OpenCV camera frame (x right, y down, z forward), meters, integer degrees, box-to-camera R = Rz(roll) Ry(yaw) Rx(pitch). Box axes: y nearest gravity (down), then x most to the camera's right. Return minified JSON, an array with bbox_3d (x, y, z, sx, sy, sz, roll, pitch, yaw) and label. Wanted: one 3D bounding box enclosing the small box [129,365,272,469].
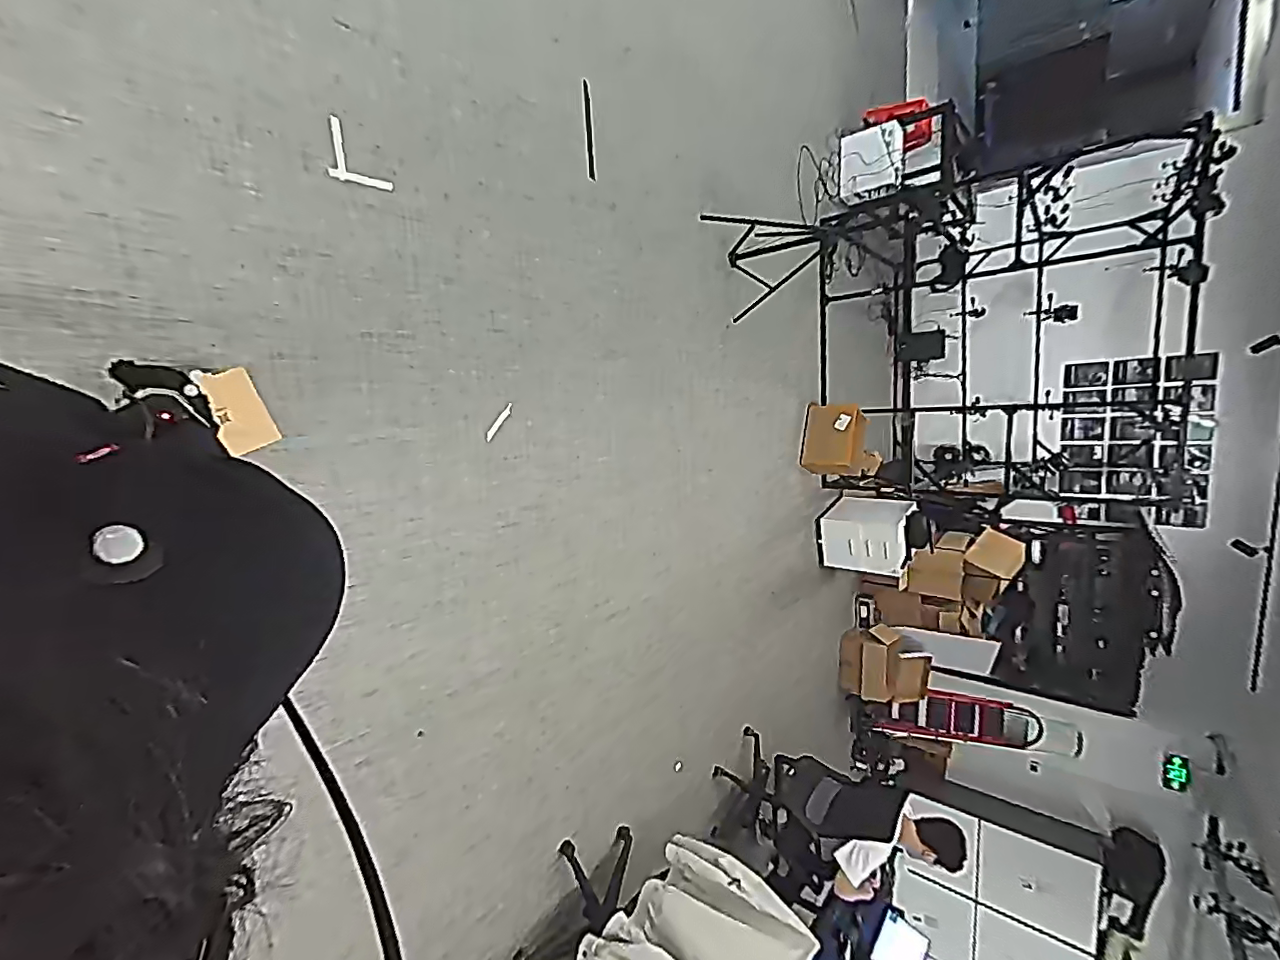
[{"bbox_3d":[-0.954,-0.137,1.171,0.168,0.176,0.179,-38,122,-42],"label":"small box"}]
